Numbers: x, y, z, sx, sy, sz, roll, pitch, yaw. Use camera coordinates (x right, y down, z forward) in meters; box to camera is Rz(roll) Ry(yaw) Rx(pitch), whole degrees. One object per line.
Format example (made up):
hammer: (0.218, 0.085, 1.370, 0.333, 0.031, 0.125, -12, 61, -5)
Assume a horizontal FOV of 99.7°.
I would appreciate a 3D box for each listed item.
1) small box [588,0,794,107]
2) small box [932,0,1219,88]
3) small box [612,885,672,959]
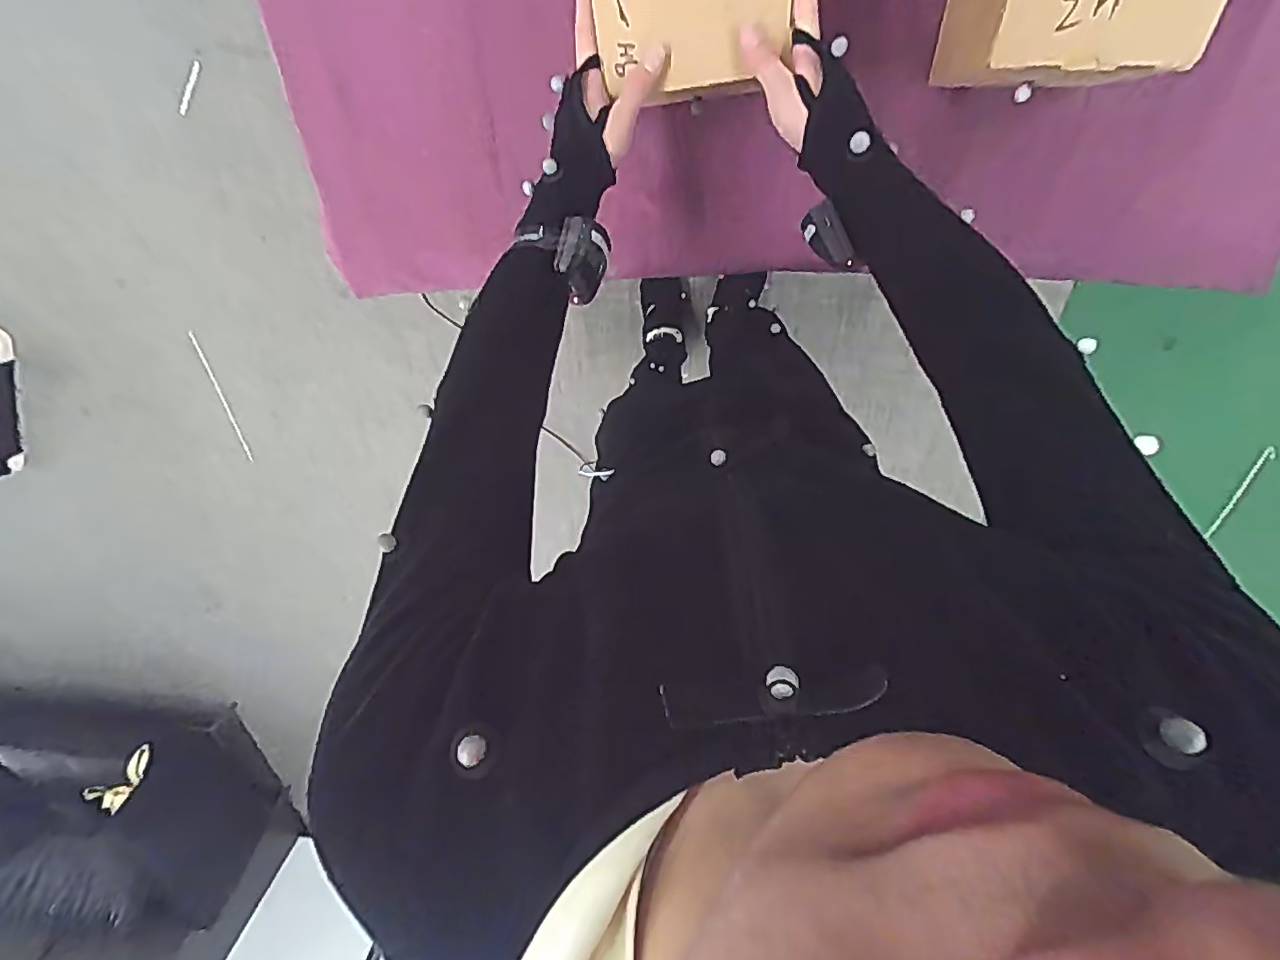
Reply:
small box: (0.047, -0.469, 0.519, 0.179, 0.176, 0.168, -3, 121, 8)
small box: (0.387, -0.465, 0.480, 0.168, 0.176, 0.179, 5, 122, 7)
small box: (0.008, 1.383, 1.661, 0.168, 0.176, 0.179, 5, 123, 7)
